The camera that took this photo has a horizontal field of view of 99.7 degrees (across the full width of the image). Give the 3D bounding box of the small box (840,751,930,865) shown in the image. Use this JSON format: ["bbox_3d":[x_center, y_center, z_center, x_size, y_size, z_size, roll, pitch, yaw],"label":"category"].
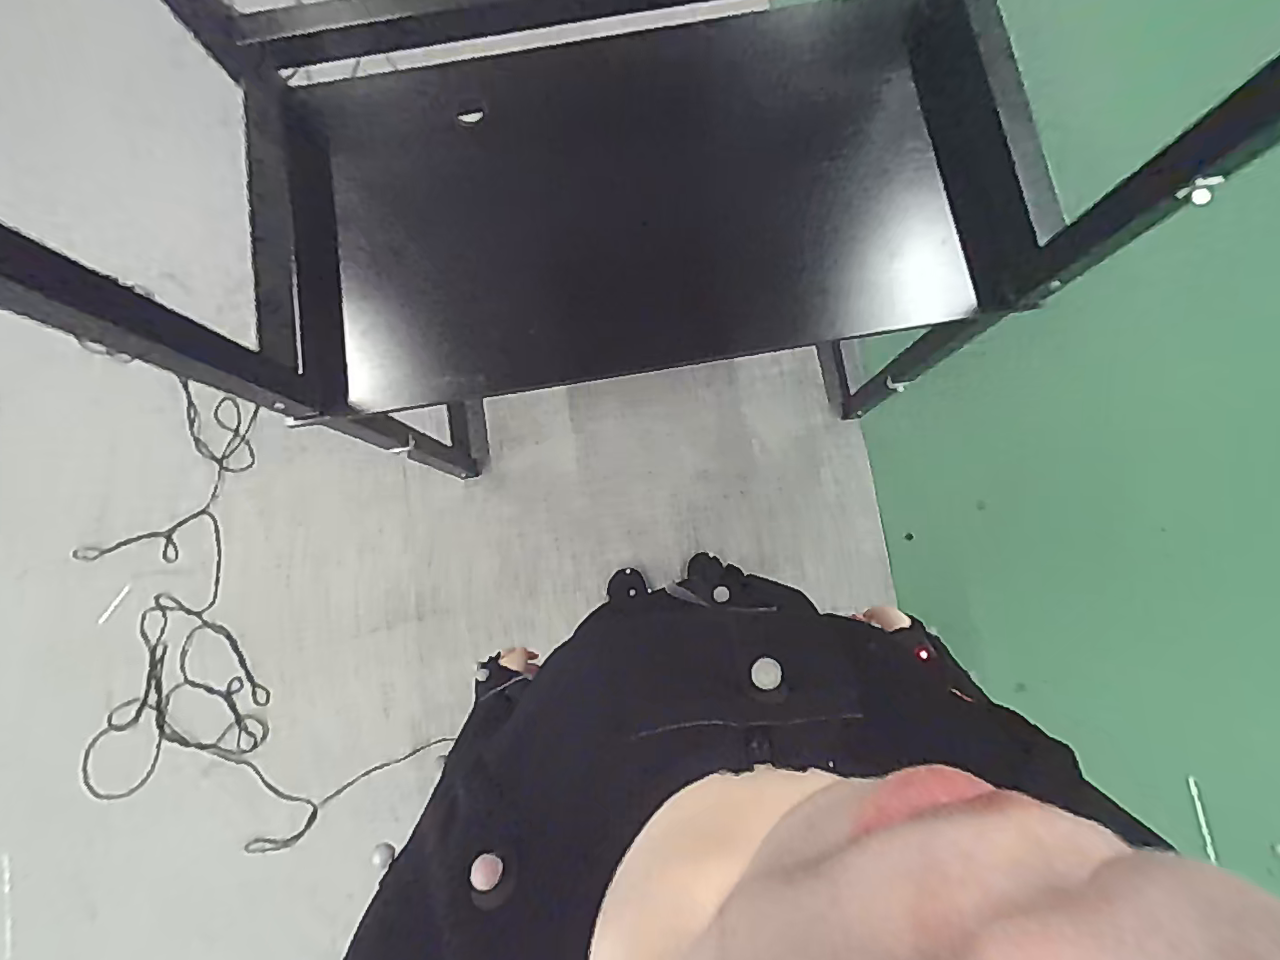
[{"bbox_3d":[0.617,0.794,1.331,0.168,0.176,0.179,-16,83,1],"label":"small box"}]
